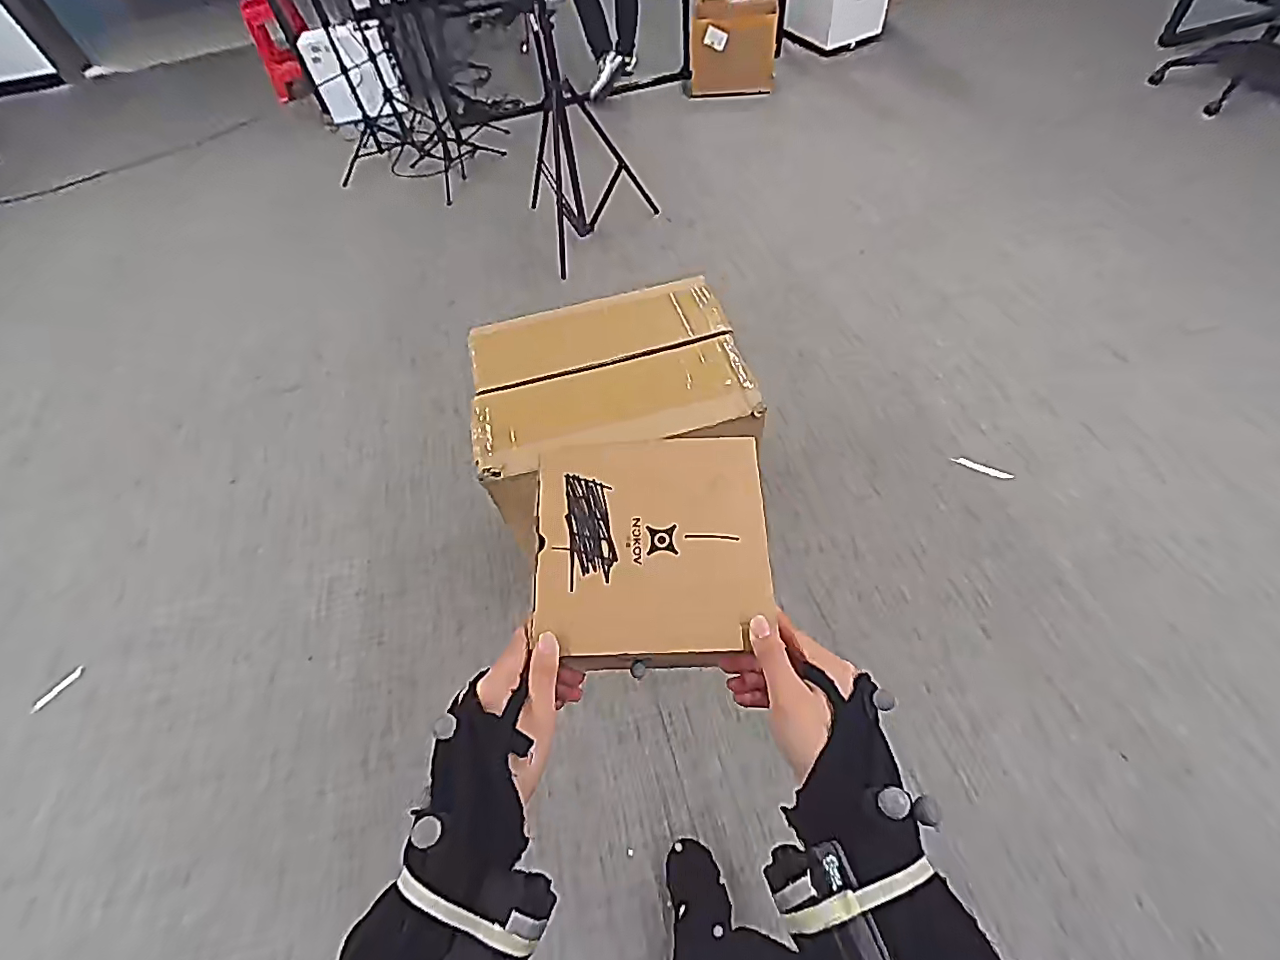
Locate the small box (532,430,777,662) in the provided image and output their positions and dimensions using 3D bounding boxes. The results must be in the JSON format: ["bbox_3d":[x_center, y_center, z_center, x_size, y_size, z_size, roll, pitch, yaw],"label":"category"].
[{"bbox_3d":[0.011,0.069,0.482,0.179,0.176,0.168,-2,67,0],"label":"small box"}]
